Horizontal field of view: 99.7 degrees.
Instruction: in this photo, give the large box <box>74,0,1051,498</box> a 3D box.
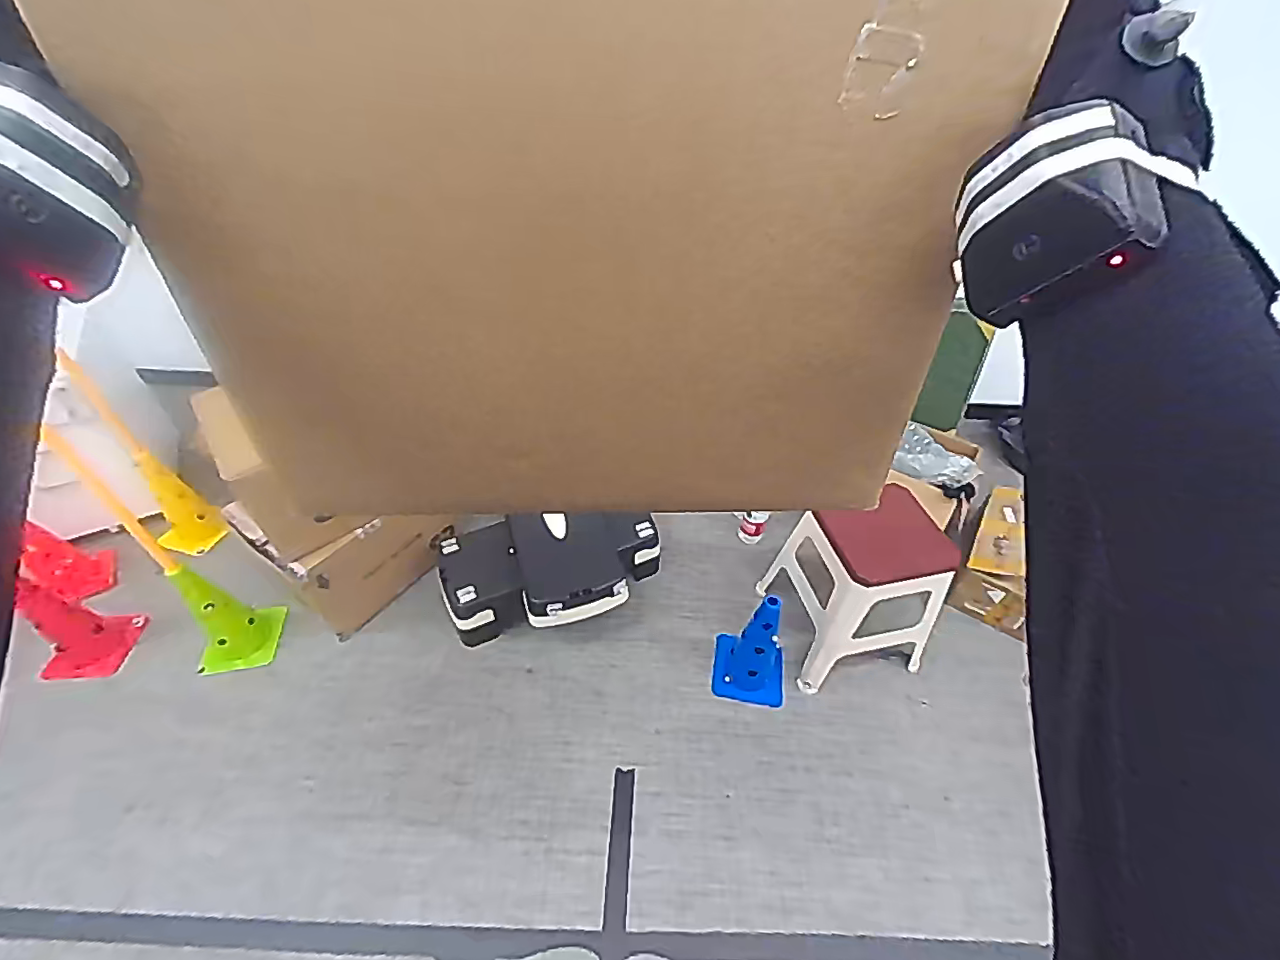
[{"bbox_3d":[-0.036,-0.197,0.399,0.408,0.320,0.320,0,39,-3],"label":"large box"}]
